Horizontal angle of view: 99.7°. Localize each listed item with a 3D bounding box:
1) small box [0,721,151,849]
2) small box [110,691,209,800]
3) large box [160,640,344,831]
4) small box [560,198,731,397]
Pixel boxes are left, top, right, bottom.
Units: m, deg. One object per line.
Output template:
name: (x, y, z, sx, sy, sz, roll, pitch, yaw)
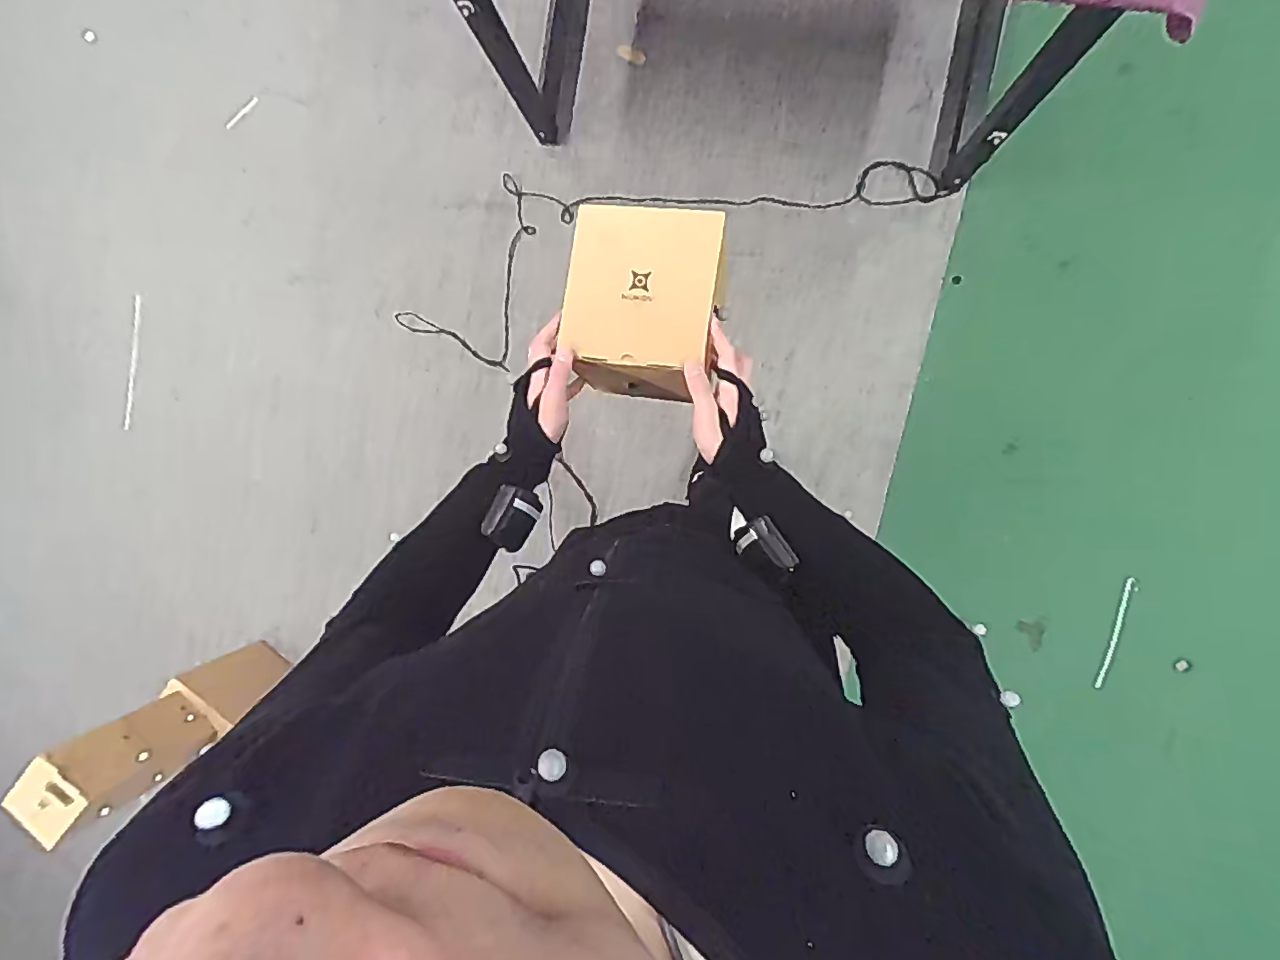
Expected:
small box: (-1.359, 0.732, 1.319, 0.168, 0.176, 0.179, 42, 98, 2)
small box: (-1.346, 0.723, 1.482, 0.168, 0.176, 0.179, 42, 97, 2)
large box: (-1.265, 0.788, 1.723, 0.408, 0.320, 0.320, 35, 99, 3)
small box: (0.015, -0.212, 0.663, 0.168, 0.176, 0.179, 8, 90, 9)
